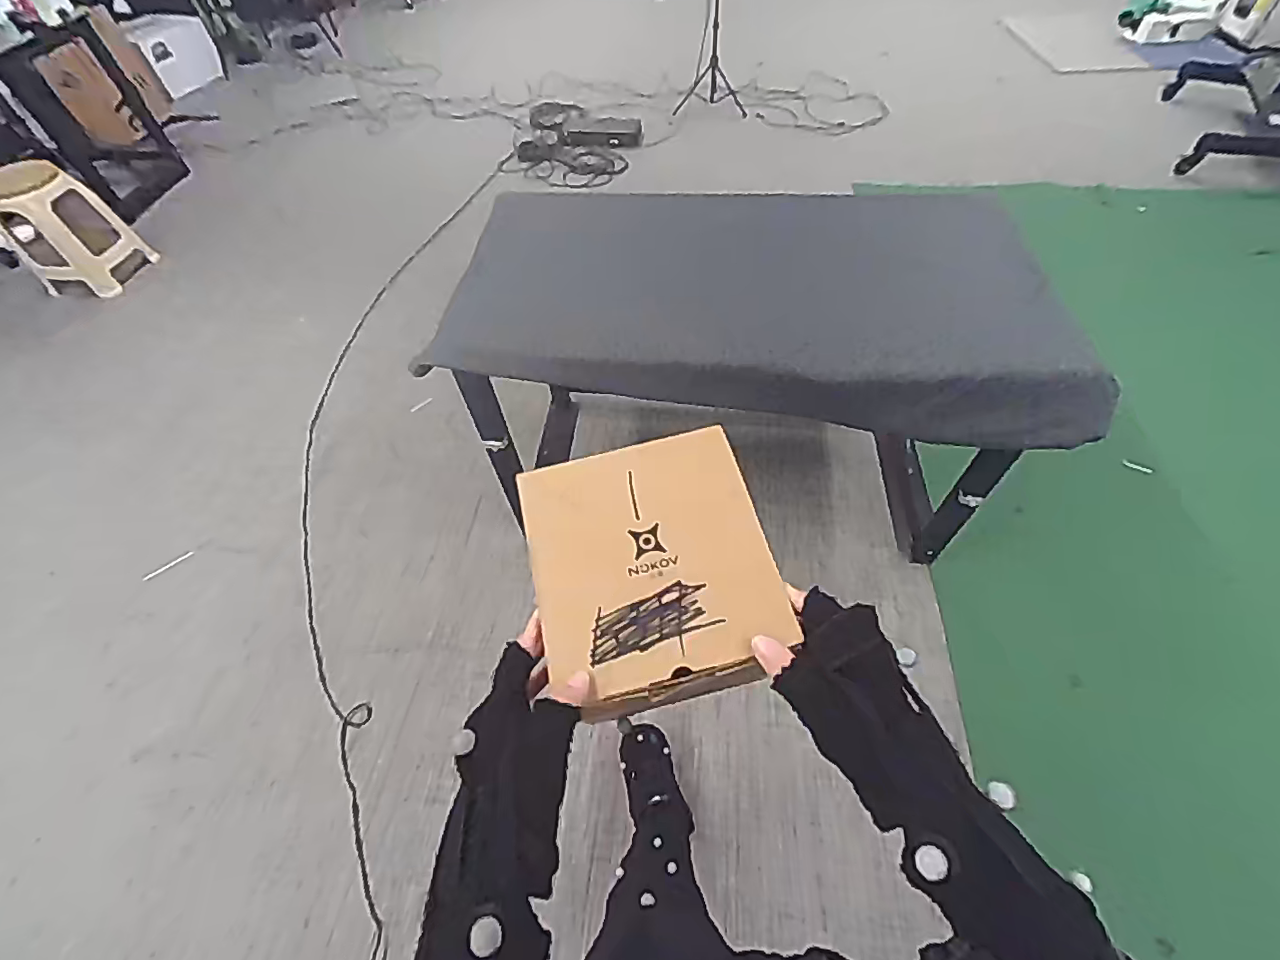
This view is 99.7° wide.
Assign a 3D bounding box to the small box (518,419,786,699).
[{"bbox_3d":[0.006,0.079,0.460,0.168,0.176,0.179,-13,63,-4],"label":"small box"}]
